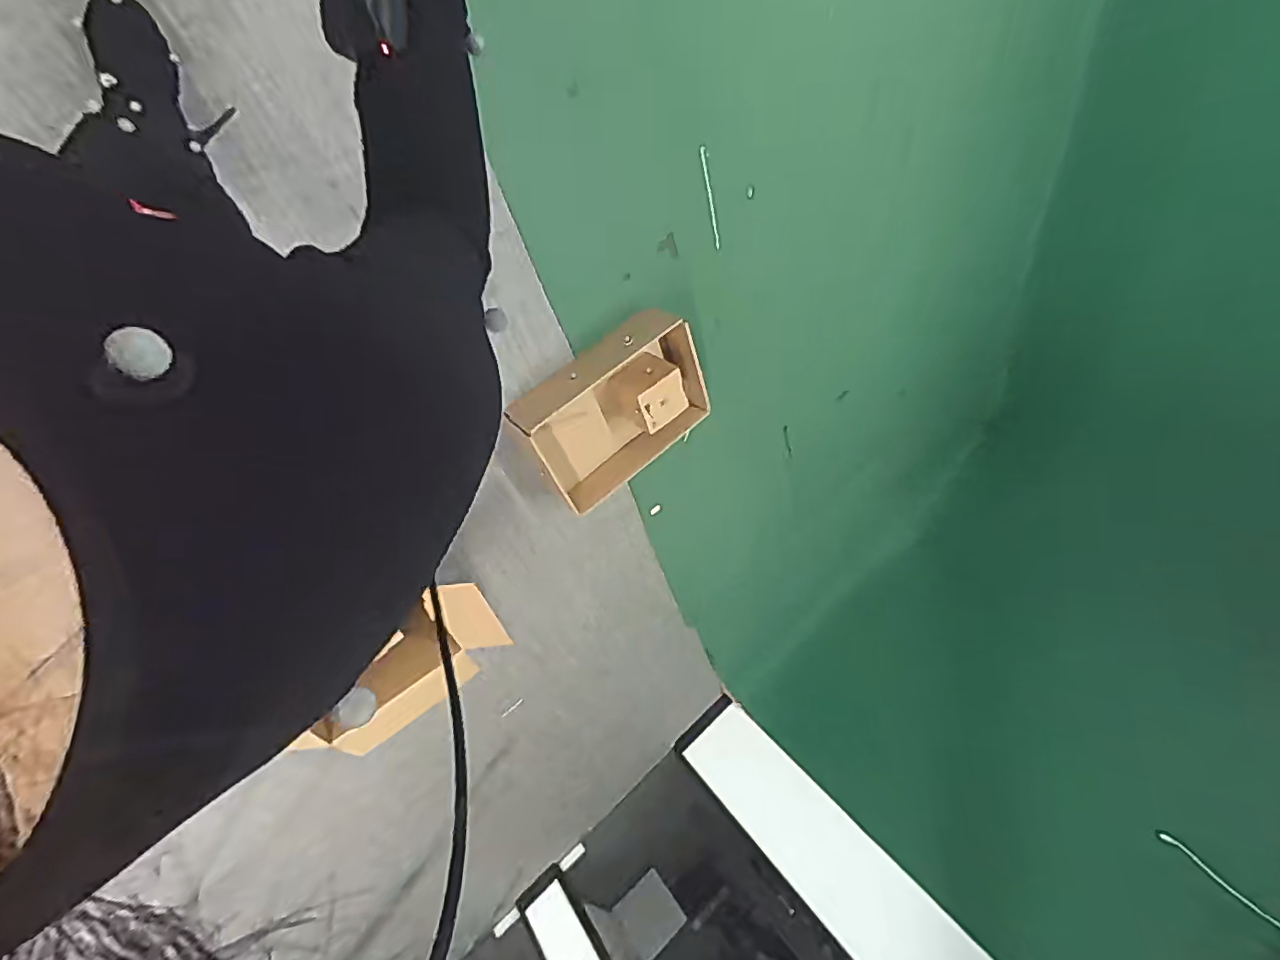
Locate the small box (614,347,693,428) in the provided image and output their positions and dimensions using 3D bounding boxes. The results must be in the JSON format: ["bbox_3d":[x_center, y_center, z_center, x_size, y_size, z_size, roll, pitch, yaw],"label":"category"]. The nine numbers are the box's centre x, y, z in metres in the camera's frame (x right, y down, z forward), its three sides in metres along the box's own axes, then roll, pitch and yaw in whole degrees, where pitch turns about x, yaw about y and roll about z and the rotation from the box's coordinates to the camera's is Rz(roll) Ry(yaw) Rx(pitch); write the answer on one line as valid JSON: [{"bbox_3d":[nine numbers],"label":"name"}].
[{"bbox_3d":[0.043,-0.310,1.783,0.179,0.176,0.168,-38,137,-15],"label":"small box"}]
